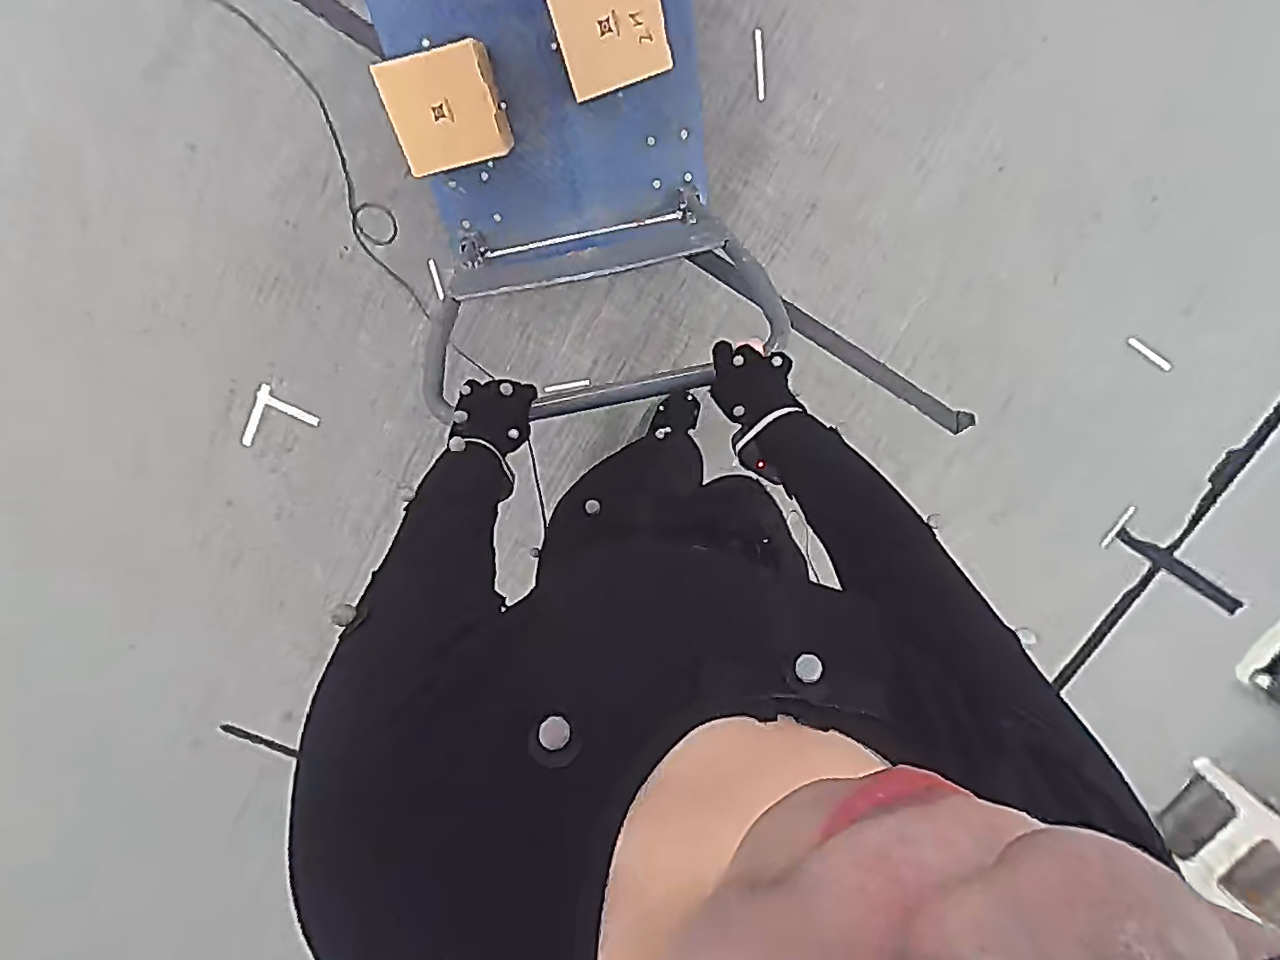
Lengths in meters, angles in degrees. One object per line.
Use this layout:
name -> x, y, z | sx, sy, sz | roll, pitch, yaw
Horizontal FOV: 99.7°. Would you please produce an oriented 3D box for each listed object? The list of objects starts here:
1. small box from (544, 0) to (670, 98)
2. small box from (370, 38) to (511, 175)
small box -> -0.058, -0.784, 0.937 | 0.179, 0.176, 0.168 | -17, 126, 5
small box -> -0.347, -0.672, 0.981 | 0.179, 0.176, 0.168 | -15, 126, 1
